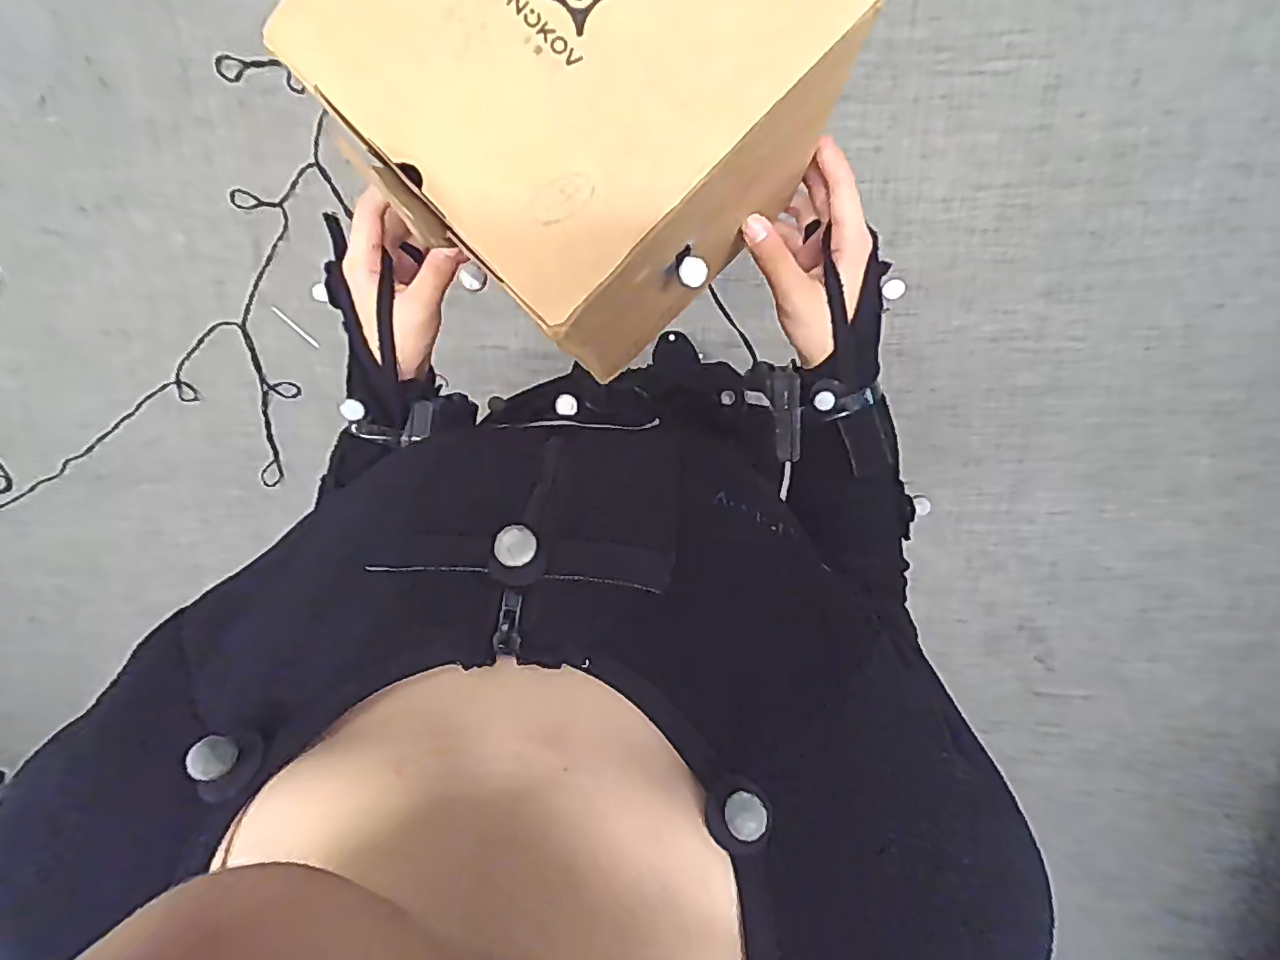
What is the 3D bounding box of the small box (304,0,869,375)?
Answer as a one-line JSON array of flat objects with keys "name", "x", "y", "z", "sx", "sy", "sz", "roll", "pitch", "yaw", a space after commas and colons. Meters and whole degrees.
[{"name": "small box", "x": -0.019, "y": -0.178, "z": 0.296, "sx": 0.179, "sy": 0.176, "sz": 0.168, "roll": -45, "pitch": 90, "yaw": 6}]
